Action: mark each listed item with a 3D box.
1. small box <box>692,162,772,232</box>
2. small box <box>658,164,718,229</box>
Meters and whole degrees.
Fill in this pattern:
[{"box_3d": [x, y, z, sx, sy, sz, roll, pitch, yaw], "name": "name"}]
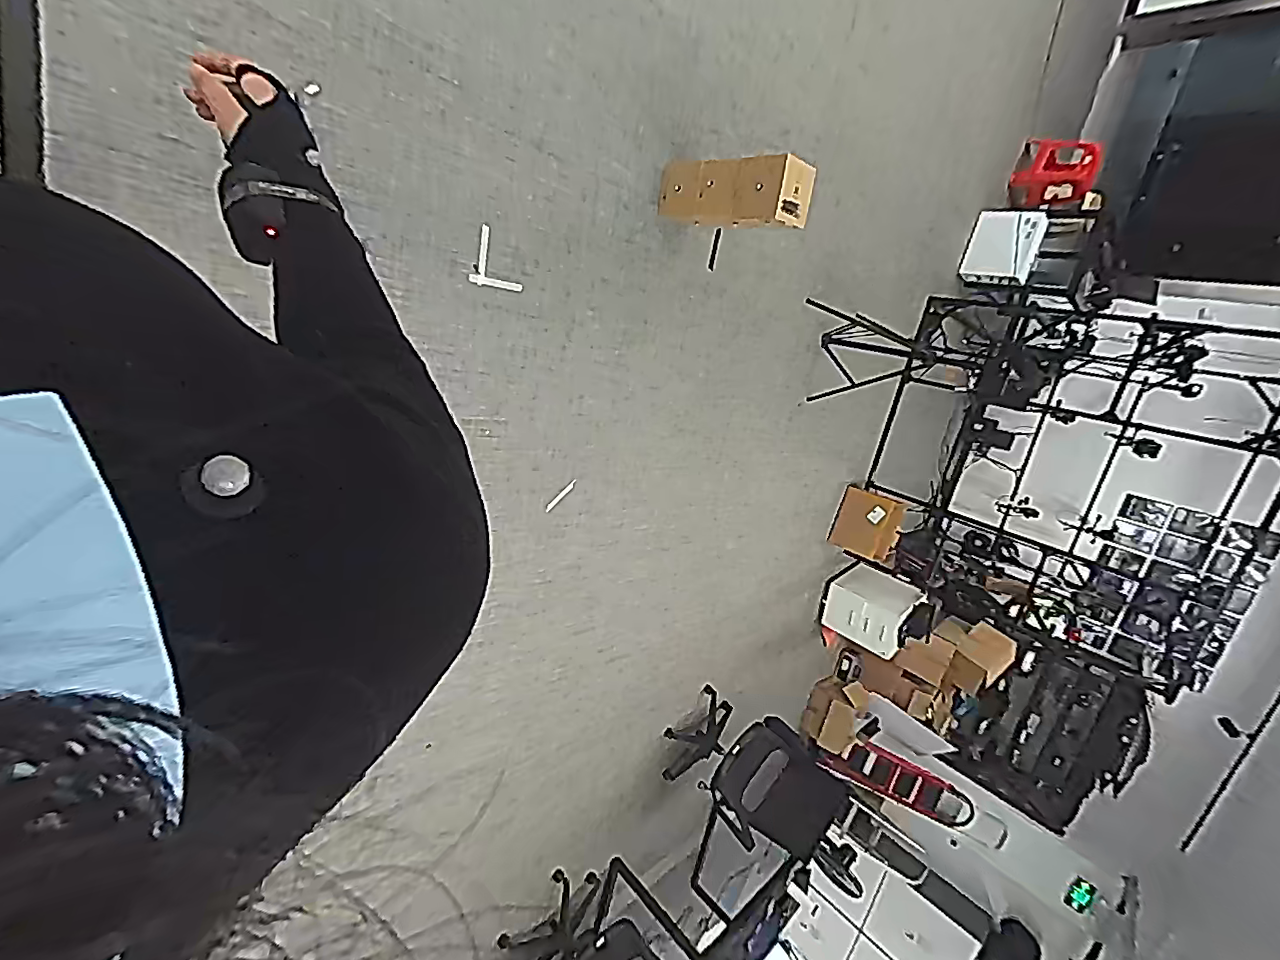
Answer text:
[{"box_3d": [0.301, -0.930, 1.784, 0.179, 0.176, 0.168, -6, 113, -45], "name": "small box"}, {"box_3d": [0.188, -0.983, 1.888, 0.179, 0.176, 0.168, -8, 115, -45], "name": "small box"}]
